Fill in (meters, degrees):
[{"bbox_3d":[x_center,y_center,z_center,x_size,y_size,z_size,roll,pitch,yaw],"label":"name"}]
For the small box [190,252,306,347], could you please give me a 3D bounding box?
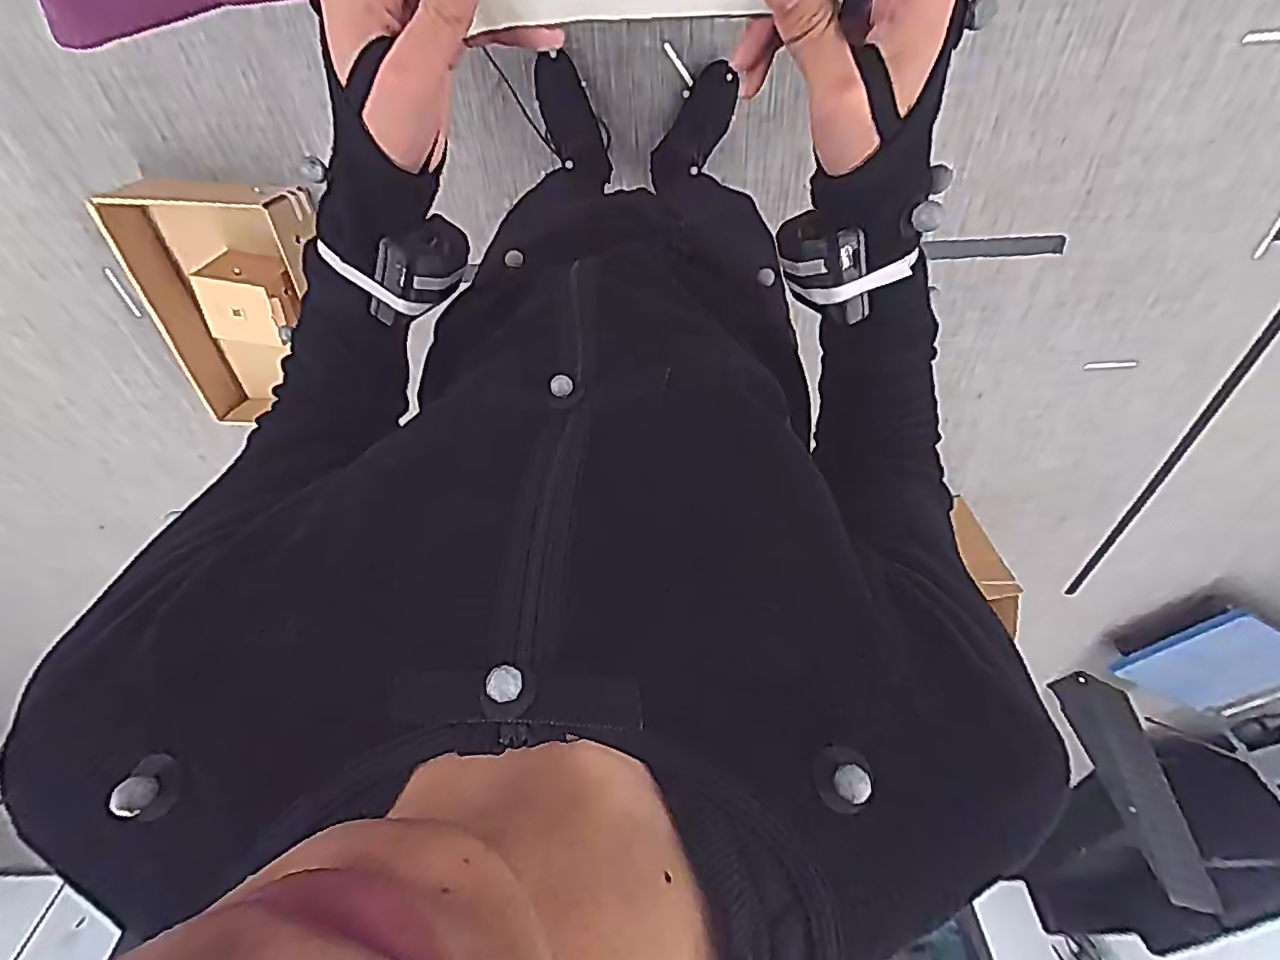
[{"bbox_3d":[-0.990,-0.466,1.391,0.179,0.176,0.168,7,132,-7],"label":"small box"}]
